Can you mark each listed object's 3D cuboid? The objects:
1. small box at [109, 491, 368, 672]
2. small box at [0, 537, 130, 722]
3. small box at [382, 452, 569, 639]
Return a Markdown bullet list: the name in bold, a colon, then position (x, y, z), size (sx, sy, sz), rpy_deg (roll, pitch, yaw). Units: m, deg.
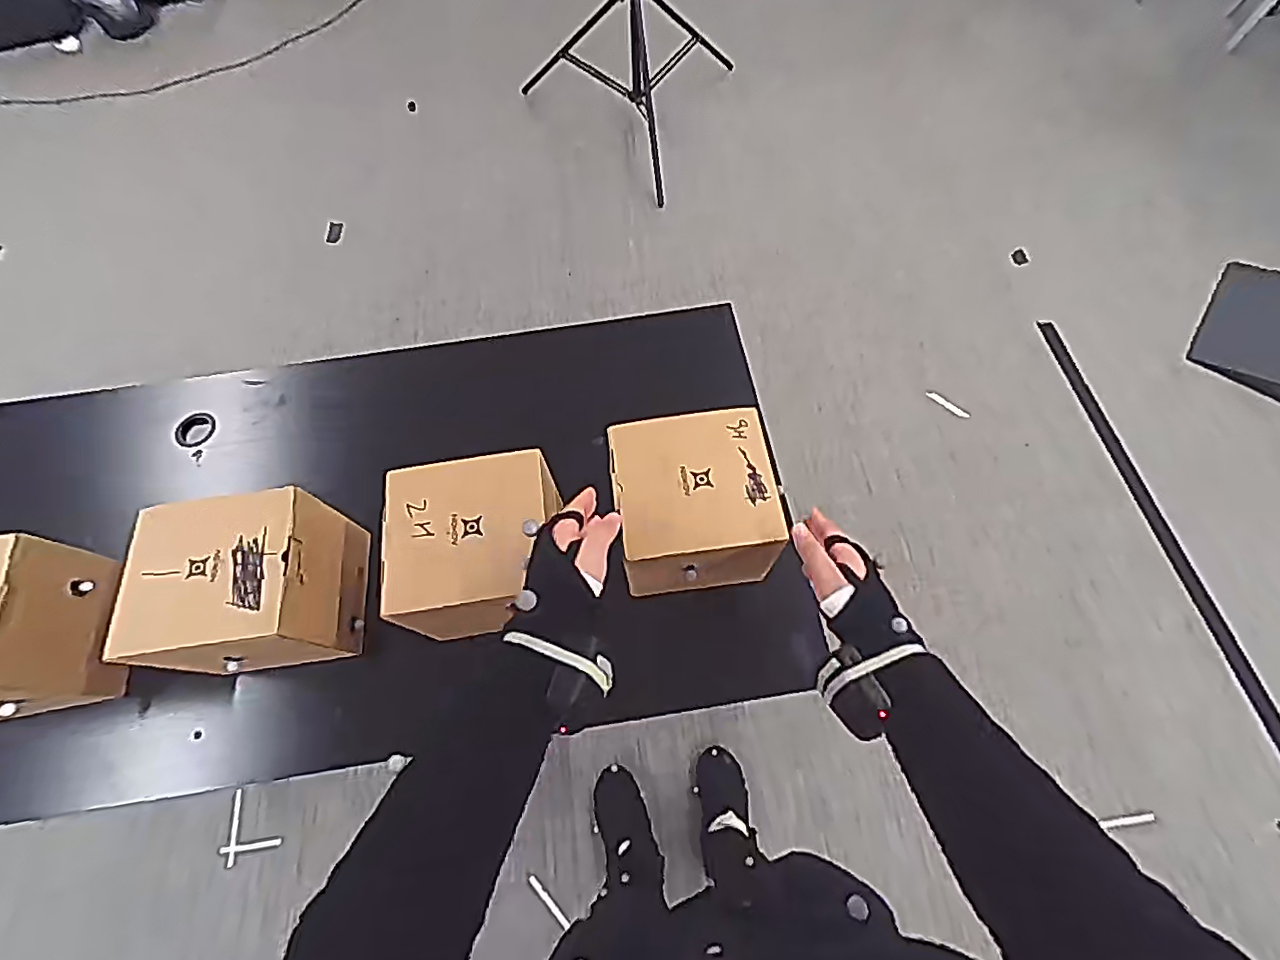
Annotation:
- **small box**: position (-0.451, 0.128, 0.645), size (0.179, 0.176, 0.168), rpy_deg (-8, 66, -1)
- **small box**: position (-0.741, 0.182, 0.633), size (0.179, 0.176, 0.168), rpy_deg (-11, 65, -2)
- **small box**: position (-0.184, 0.086, 0.652), size (0.179, 0.176, 0.168), rpy_deg (-9, 65, -2)
